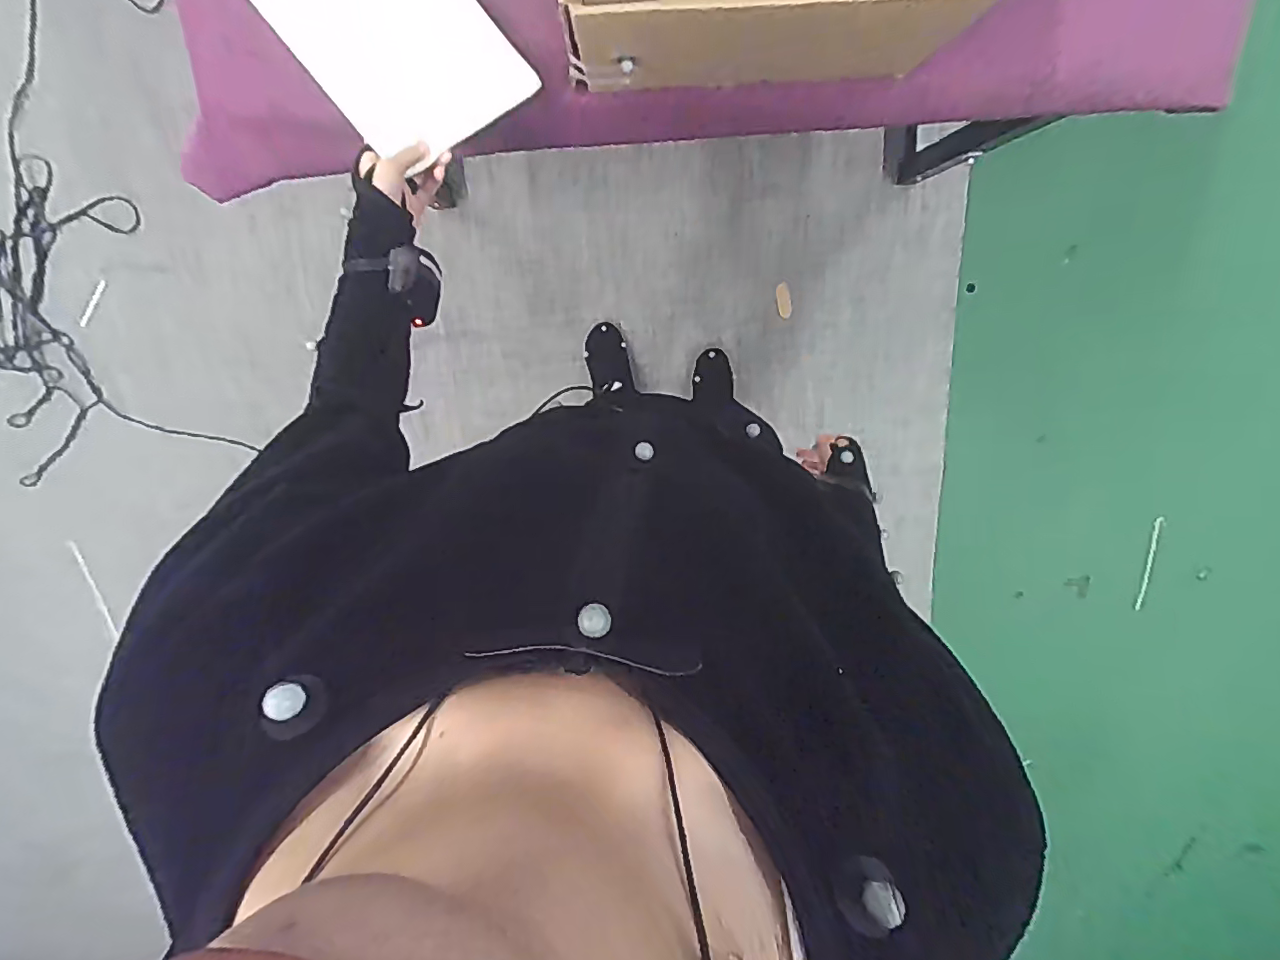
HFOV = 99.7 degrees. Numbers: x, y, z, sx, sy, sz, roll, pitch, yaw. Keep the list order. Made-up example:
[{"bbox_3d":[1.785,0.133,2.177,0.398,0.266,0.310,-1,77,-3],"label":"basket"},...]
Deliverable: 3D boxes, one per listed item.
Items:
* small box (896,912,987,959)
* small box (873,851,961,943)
[{"bbox_3d":[0.766,1.222,1.346,0.179,0.176,0.168,-12,107,3],"label":"small box"},{"bbox_3d":[0.764,1.167,1.498,0.168,0.176,0.179,-13,106,3],"label":"small box"}]
